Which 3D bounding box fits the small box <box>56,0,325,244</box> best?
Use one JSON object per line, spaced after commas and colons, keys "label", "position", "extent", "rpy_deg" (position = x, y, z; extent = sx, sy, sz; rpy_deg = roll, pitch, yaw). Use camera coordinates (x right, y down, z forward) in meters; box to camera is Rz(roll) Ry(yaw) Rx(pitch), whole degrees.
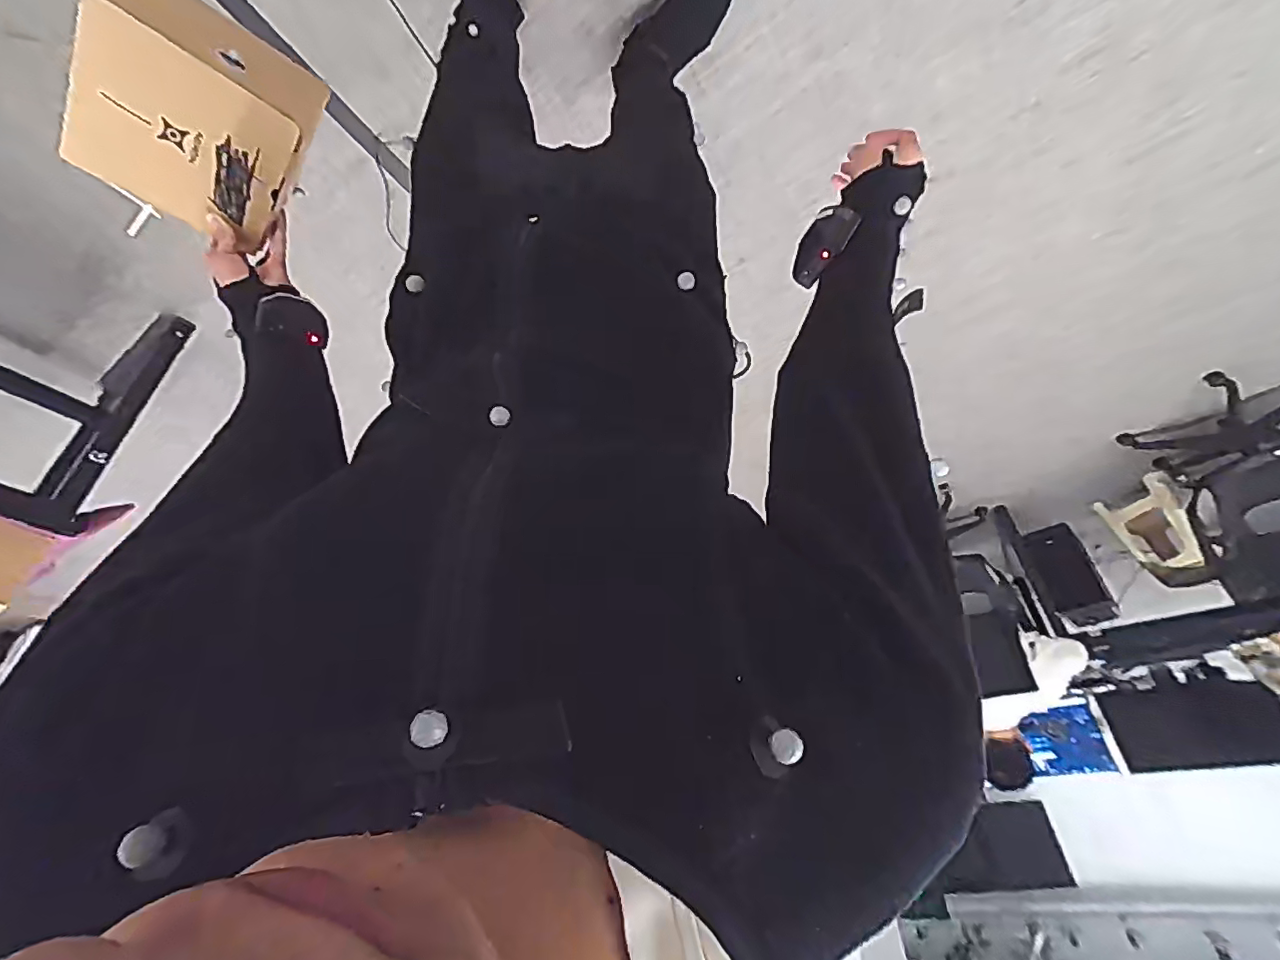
{"label": "small box", "position": [-0.476, -0.409, 0.597], "extent": [0.179, 0.176, 0.168], "rpy_deg": [24, 124, -35]}
